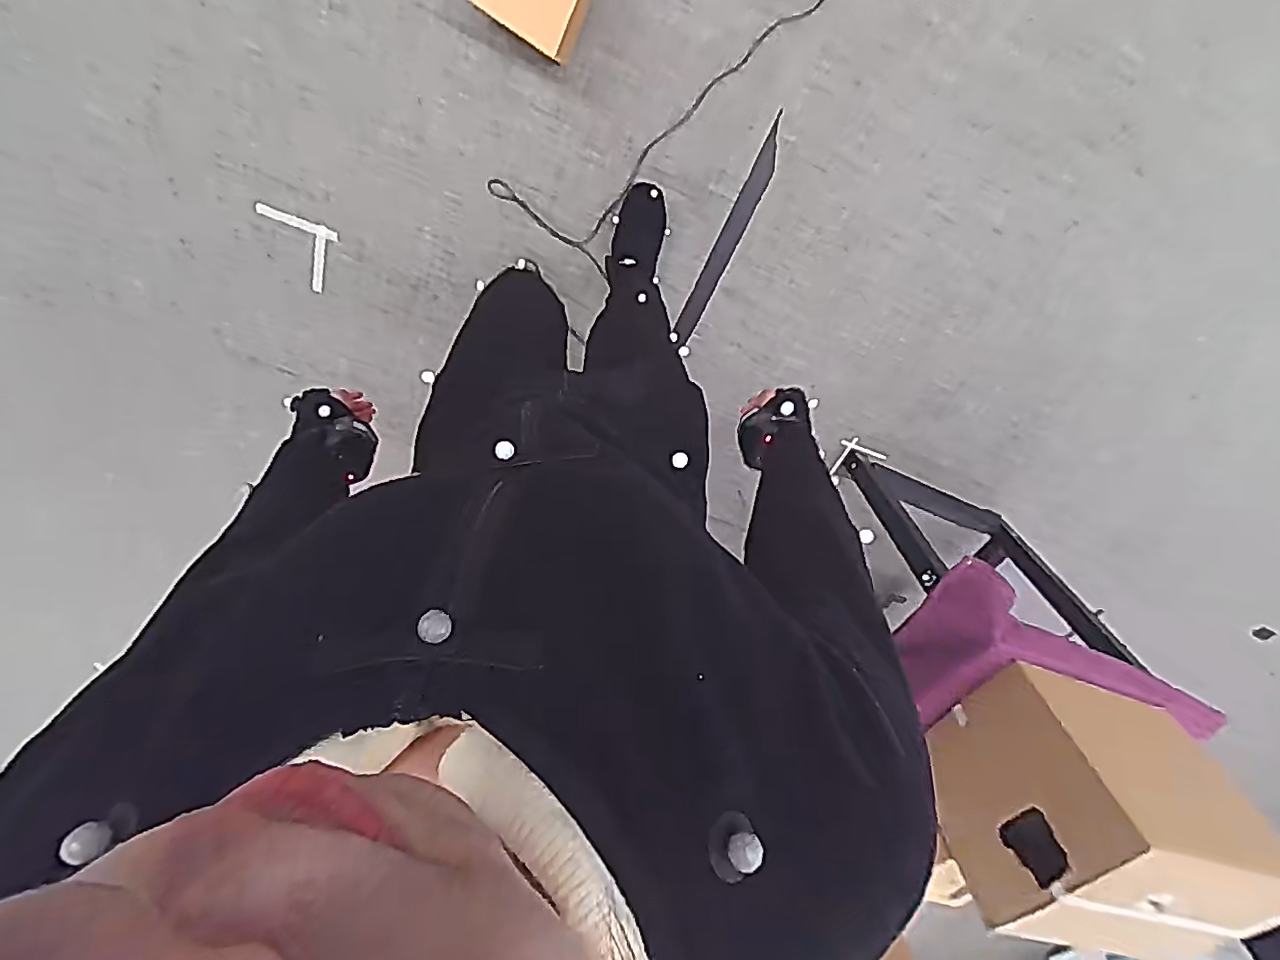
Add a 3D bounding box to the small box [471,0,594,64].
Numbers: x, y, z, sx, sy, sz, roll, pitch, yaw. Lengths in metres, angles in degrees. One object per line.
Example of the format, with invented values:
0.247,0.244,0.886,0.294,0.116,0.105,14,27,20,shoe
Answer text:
-0.174,-0.880,0.956,0.168,0.176,0.179,26,119,-15,small box
